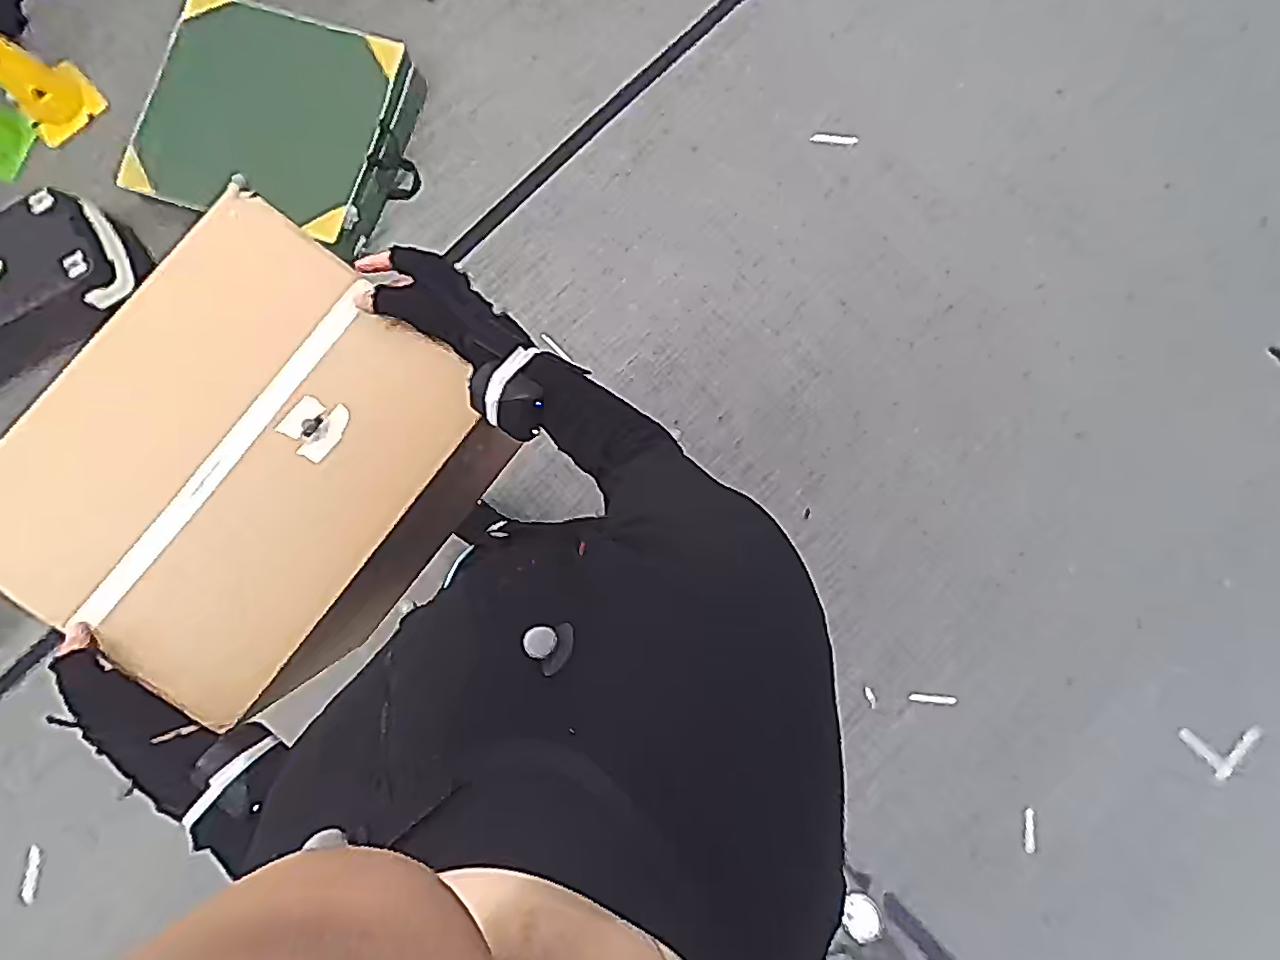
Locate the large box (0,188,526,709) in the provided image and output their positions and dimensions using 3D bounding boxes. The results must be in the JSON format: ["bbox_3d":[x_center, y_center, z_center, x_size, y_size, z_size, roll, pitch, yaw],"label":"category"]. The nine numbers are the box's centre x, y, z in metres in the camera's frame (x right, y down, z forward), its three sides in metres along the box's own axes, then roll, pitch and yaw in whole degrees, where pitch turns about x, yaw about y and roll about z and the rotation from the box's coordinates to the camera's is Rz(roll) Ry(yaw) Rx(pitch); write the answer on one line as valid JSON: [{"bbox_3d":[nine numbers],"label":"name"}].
[{"bbox_3d":[-0.391,-0.026,0.654,0.320,0.320,0.408,37,84,-4],"label":"large box"}]
